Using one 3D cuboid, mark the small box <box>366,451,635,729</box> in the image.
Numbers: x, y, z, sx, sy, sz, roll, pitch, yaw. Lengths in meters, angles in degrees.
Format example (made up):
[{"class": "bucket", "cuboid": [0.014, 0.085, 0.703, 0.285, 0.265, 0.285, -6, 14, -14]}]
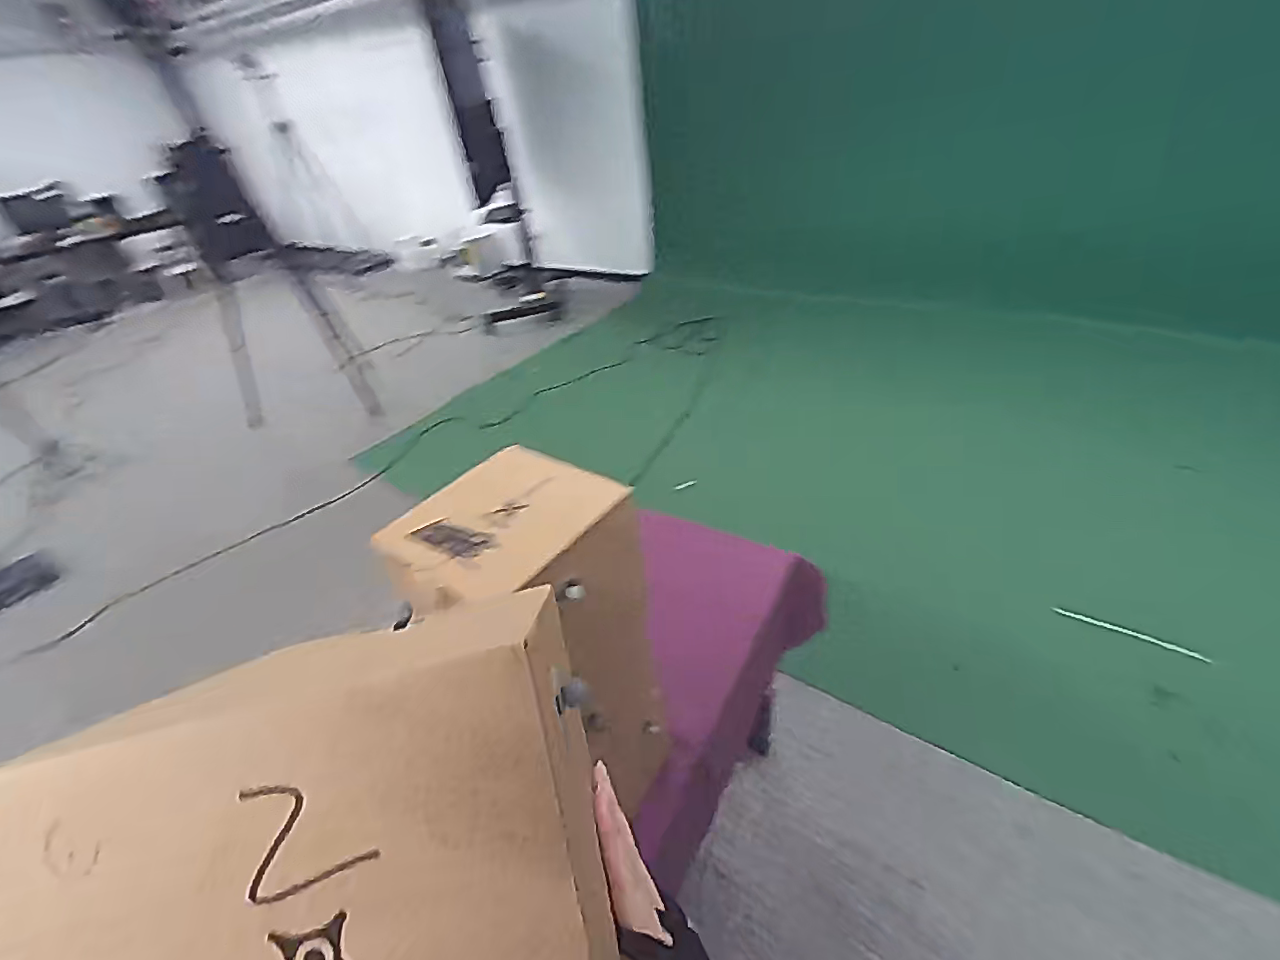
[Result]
[{"class": "small box", "cuboid": [-0.119, 0.100, 0.529, 0.168, 0.176, 0.179, 19, 43, 32]}]
